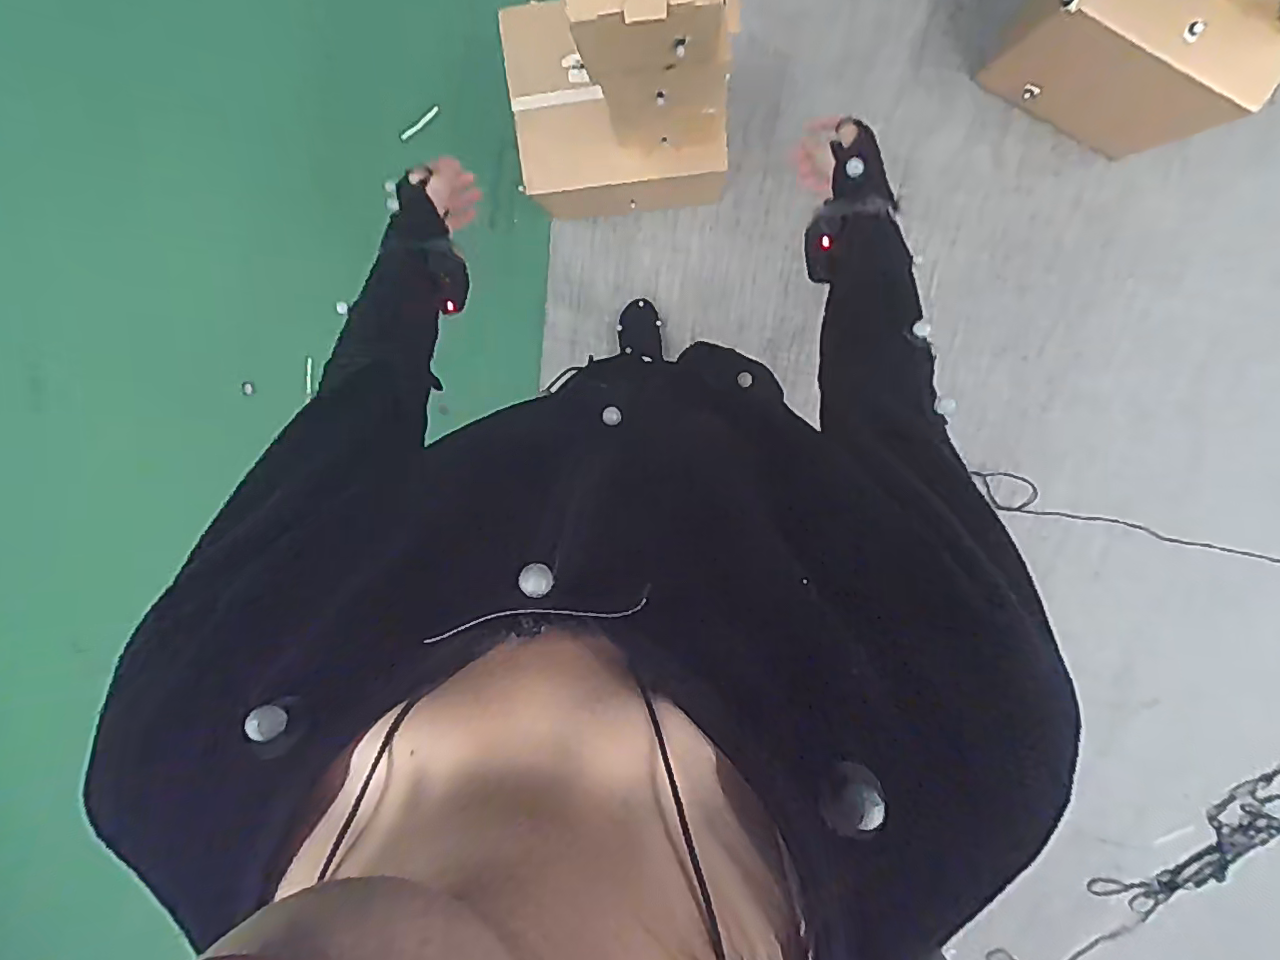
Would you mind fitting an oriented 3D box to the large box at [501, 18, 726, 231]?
[{"bbox_3d":[-0.035,-0.749,1.165,0.408,0.320,0.320,-5,105,6],"label":"large box"}]

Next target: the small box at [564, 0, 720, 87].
[{"bbox_3d":[0.004,-0.579,0.616,0.168,0.176,0.179,-3,106,4],"label":"small box"}]

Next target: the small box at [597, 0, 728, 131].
[{"bbox_3d":[0.028,-0.624,0.771,0.179,0.176,0.168,-4,106,6],"label":"small box"}]
